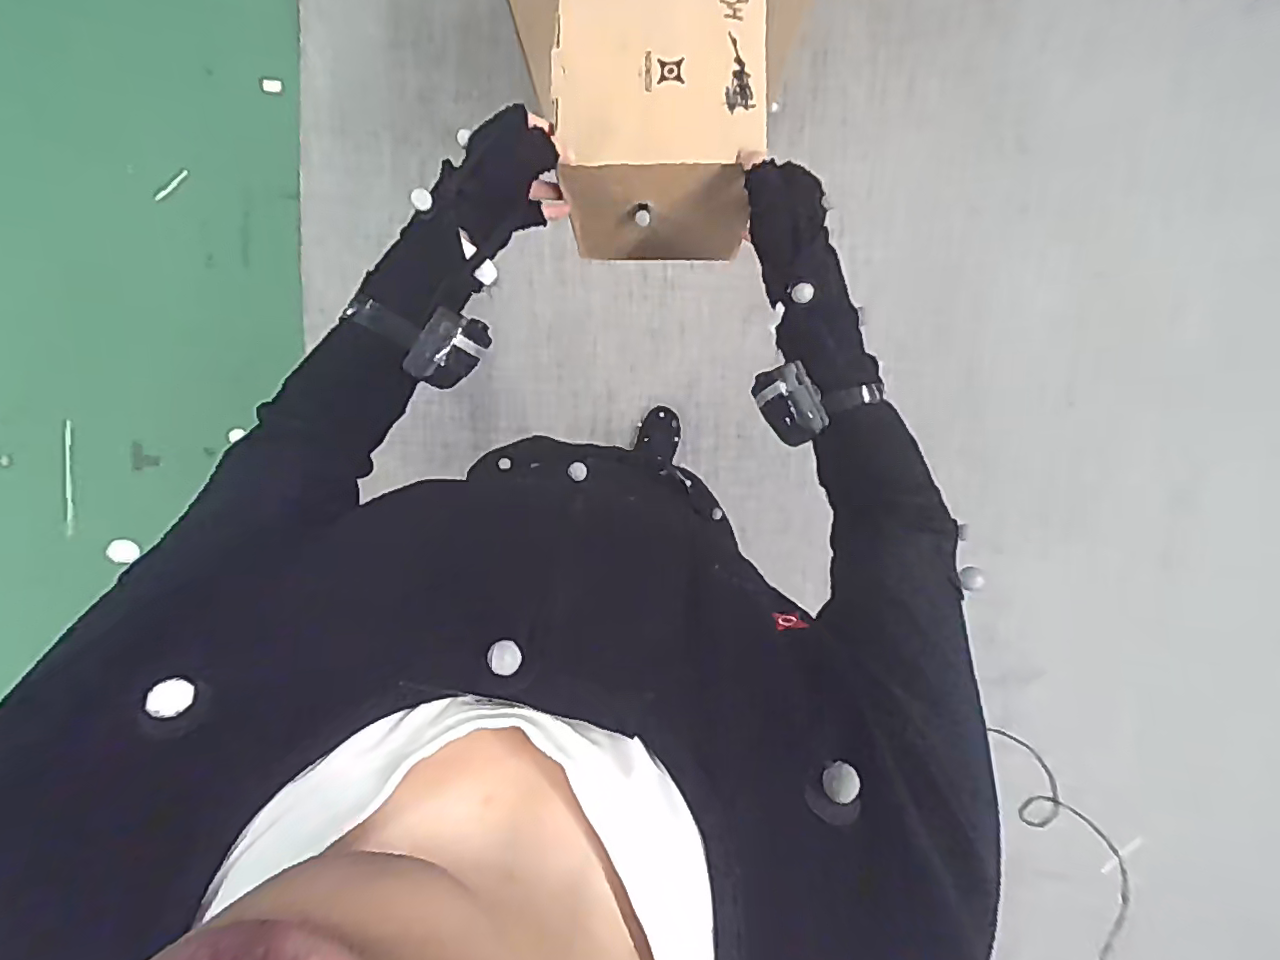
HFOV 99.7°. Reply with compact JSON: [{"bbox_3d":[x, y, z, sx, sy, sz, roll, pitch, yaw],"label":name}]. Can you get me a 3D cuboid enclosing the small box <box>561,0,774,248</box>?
[{"bbox_3d":[0.028,-0.343,0.525,0.179,0.176,0.168,1,86,3],"label":"small box"}]
